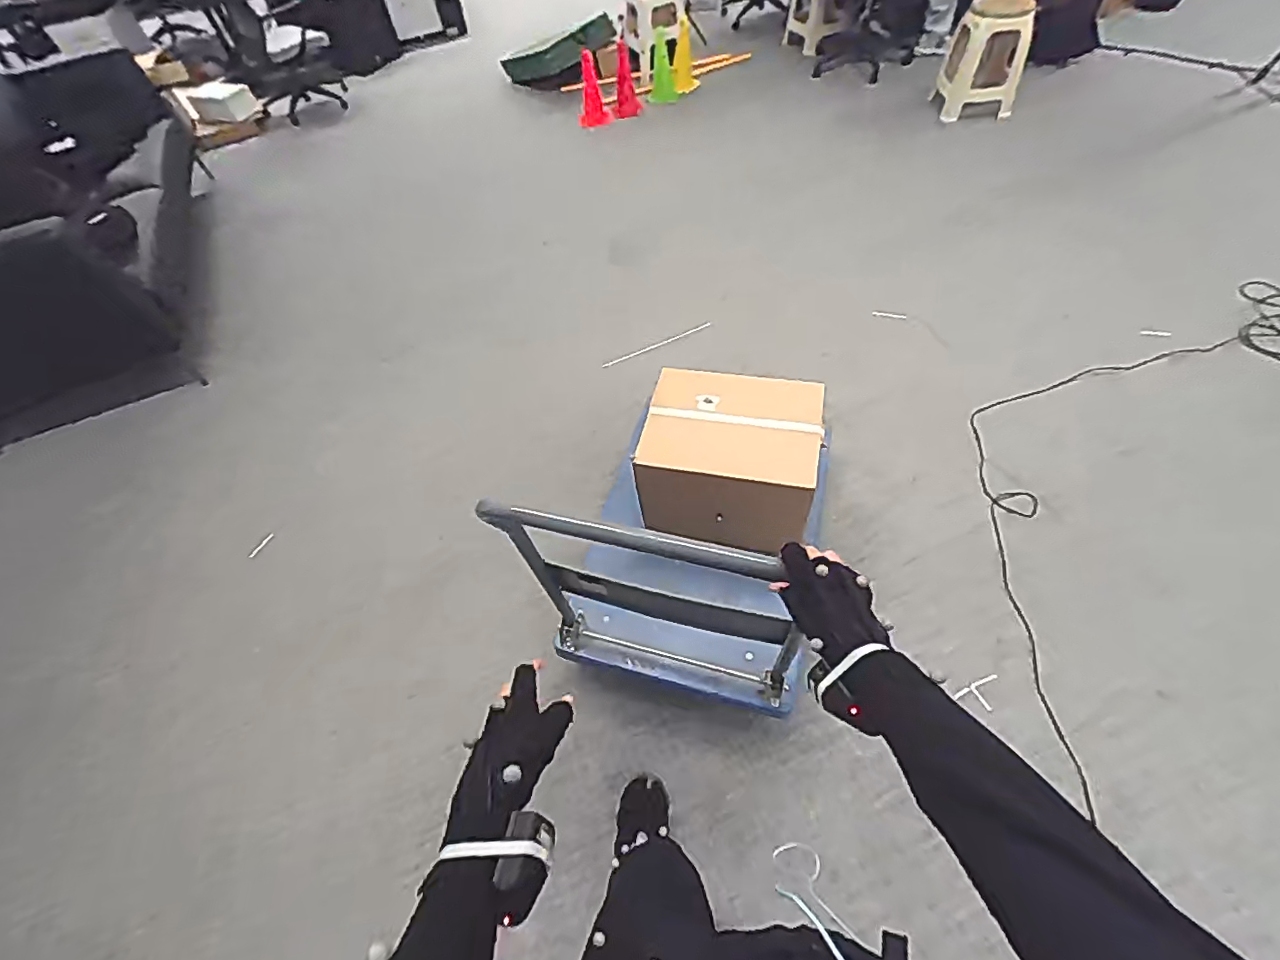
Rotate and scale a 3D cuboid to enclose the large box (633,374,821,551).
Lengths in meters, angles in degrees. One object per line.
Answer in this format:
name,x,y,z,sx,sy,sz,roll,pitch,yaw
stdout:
large box,0.230,-0.043,1.382,0.408,0.320,0.320,8,56,15
